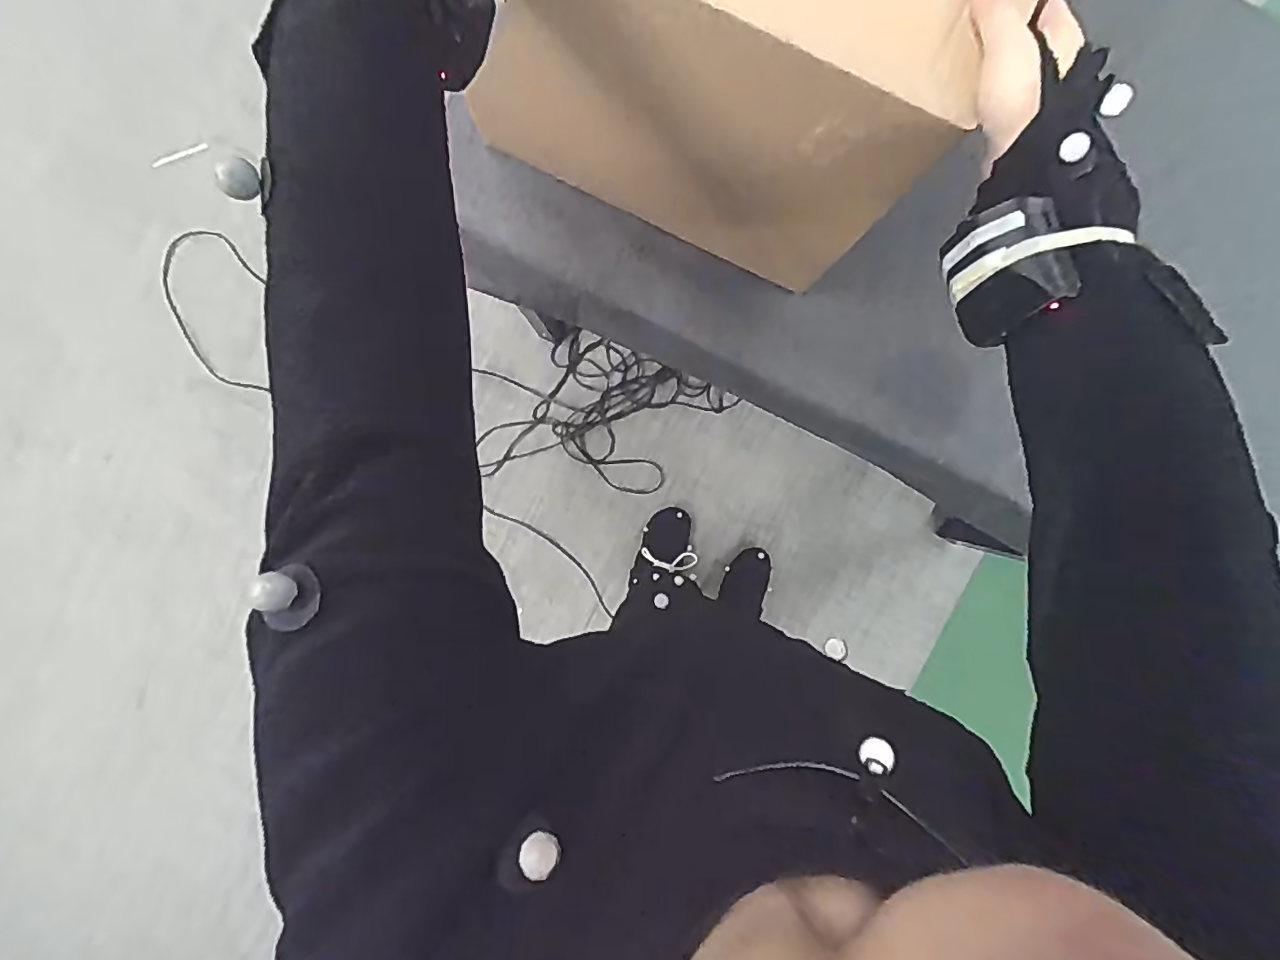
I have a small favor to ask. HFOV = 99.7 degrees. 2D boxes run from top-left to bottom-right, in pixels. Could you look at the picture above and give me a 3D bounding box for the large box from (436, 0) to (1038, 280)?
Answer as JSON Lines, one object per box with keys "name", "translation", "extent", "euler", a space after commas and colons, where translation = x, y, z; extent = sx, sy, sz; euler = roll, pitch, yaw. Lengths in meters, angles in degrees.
{"name": "large box", "translation": [0.076, -0.434, 0.458], "extent": [0.408, 0.320, 0.320], "euler": [24, 92, -3]}
